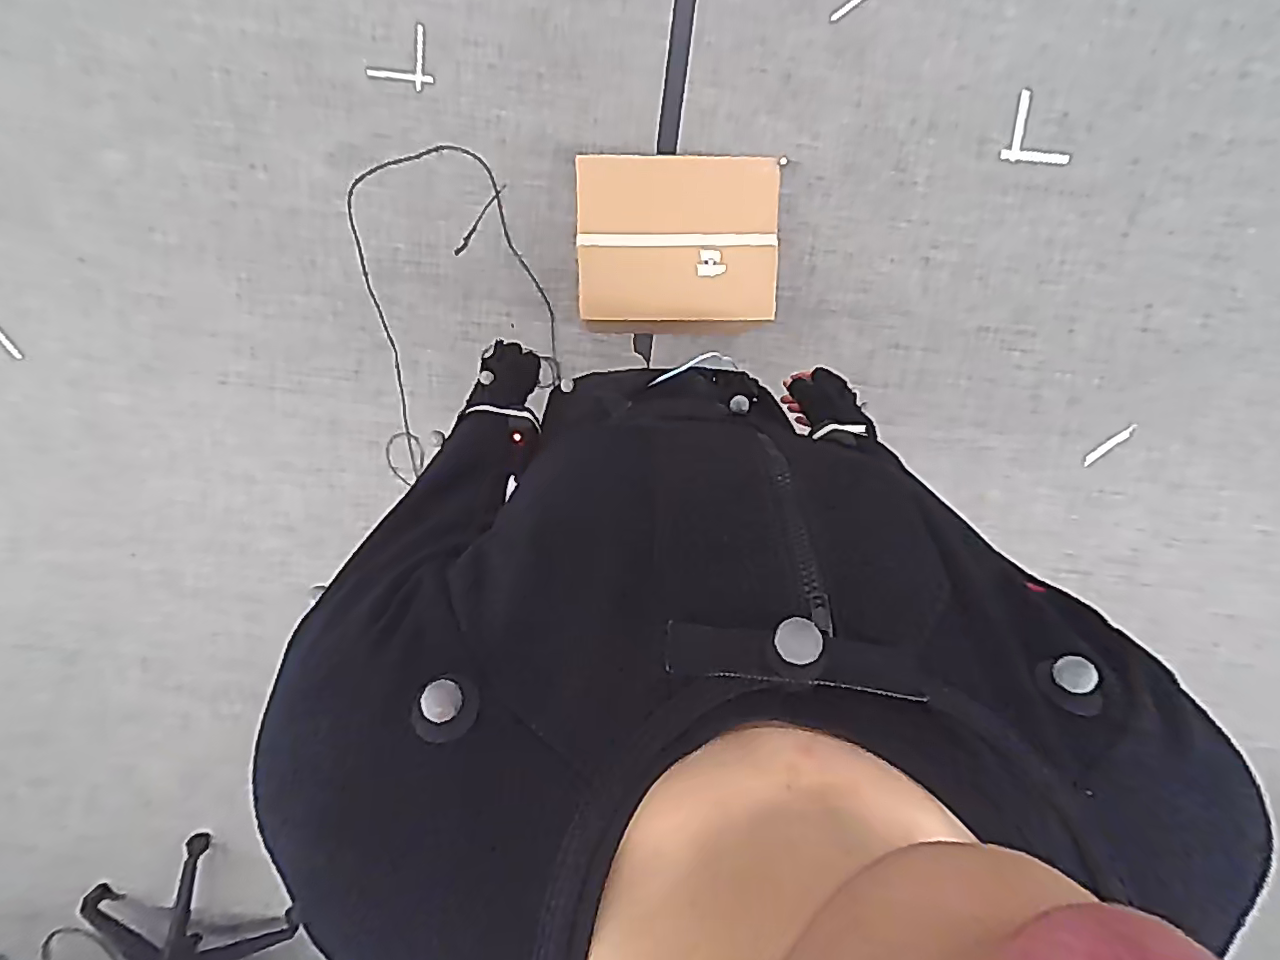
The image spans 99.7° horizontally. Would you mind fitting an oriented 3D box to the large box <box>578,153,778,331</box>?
[{"bbox_3d":[0.070,-0.519,1.239,0.408,0.320,0.320,0,101,-3],"label":"large box"}]
